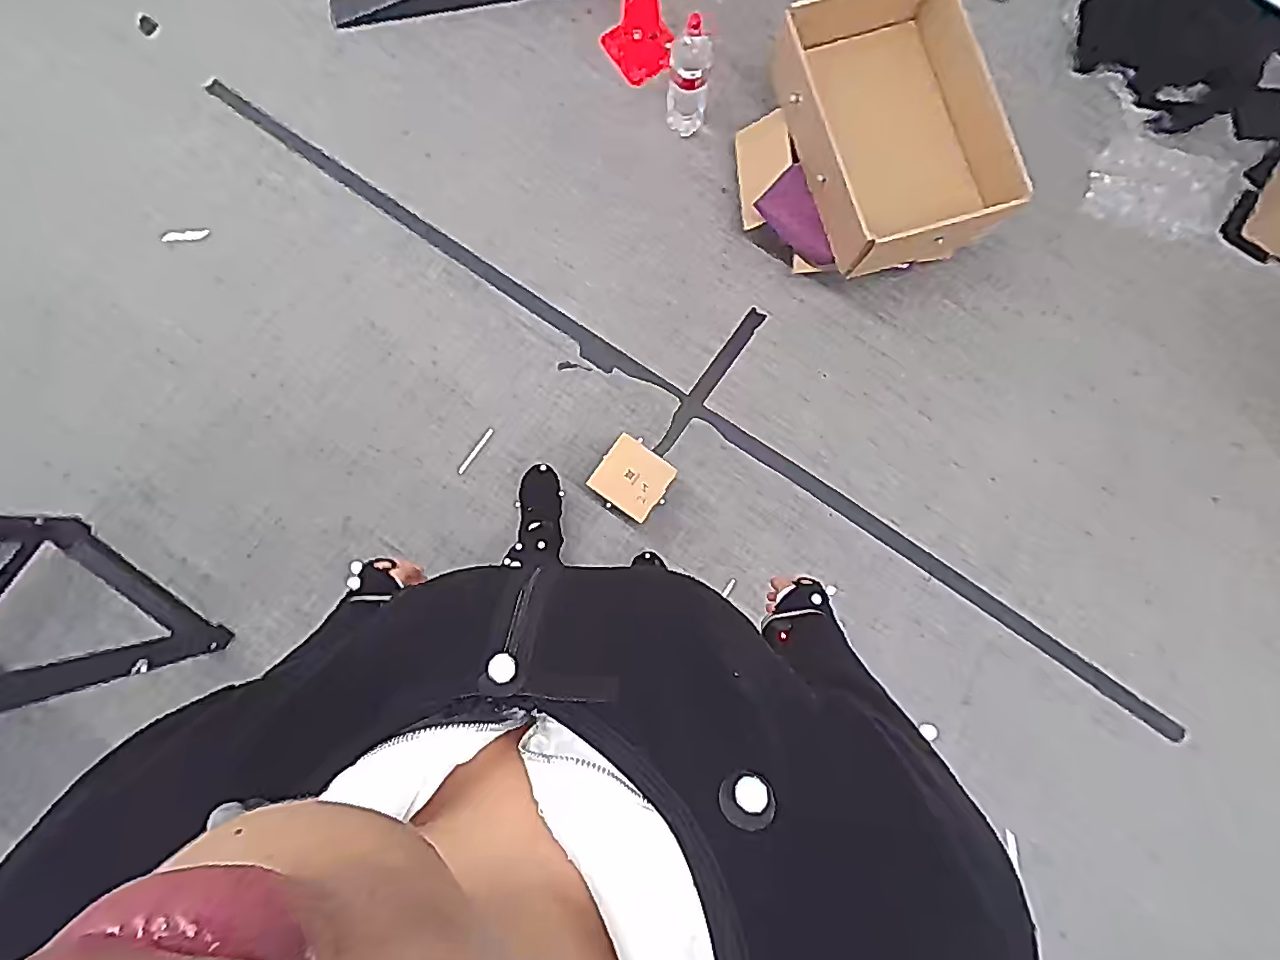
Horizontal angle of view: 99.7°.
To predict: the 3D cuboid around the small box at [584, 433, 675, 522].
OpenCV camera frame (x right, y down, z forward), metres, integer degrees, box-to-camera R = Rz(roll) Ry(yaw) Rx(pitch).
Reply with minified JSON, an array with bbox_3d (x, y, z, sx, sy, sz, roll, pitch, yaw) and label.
[{"bbox_3d":[-0.028,0.002,1.440,0.179,0.176,0.168,36,86,2],"label":"small box"}]
